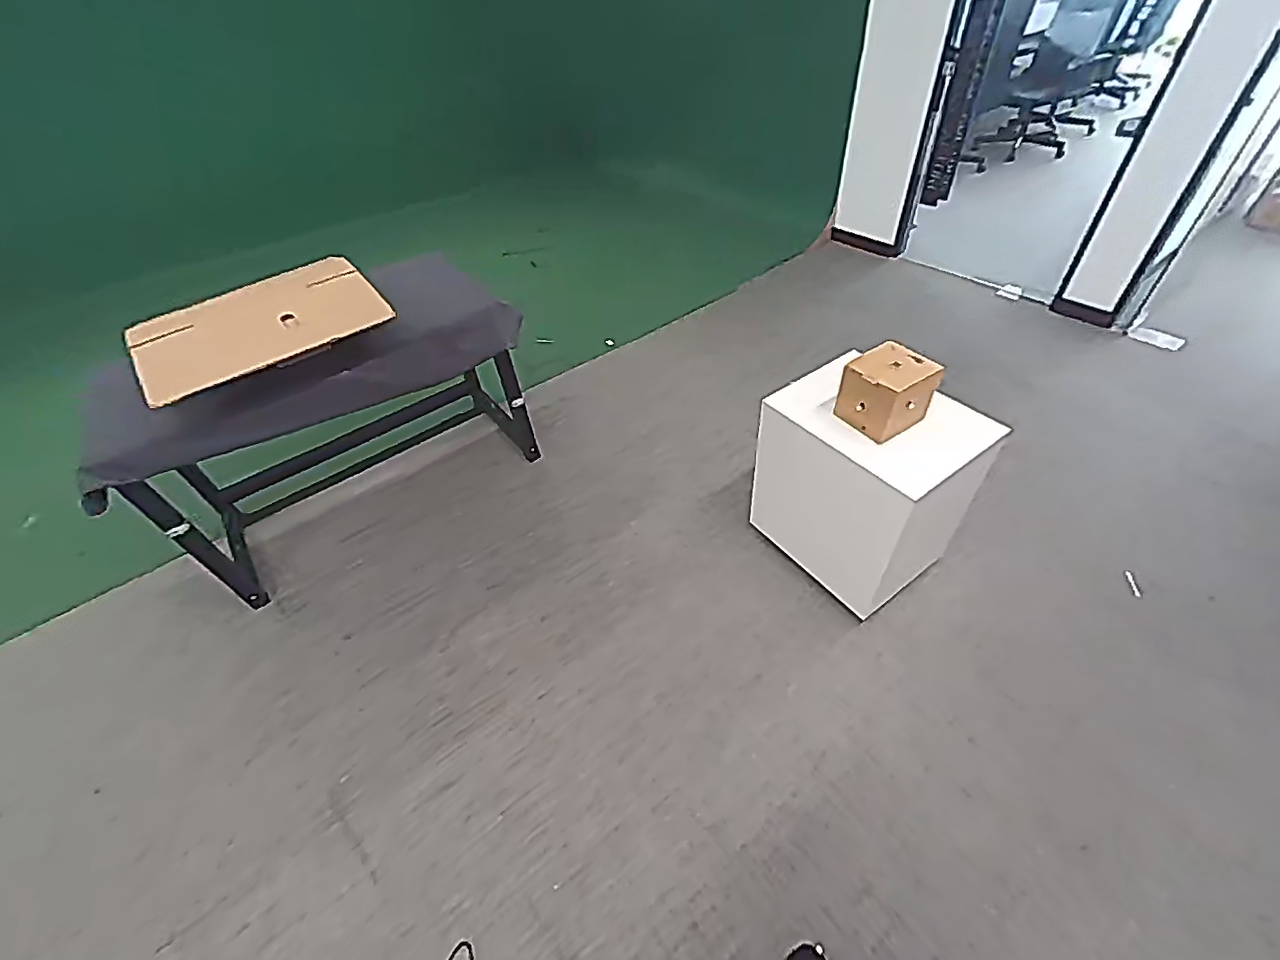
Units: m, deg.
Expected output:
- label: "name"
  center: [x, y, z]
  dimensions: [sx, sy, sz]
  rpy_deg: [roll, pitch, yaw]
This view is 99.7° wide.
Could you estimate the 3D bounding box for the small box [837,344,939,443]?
- label: "small box"
  center: [0.642, -0.225, 1.425]
  dimensions: [0.179, 0.176, 0.168]
  rpy_deg: [-29, 50, -22]
